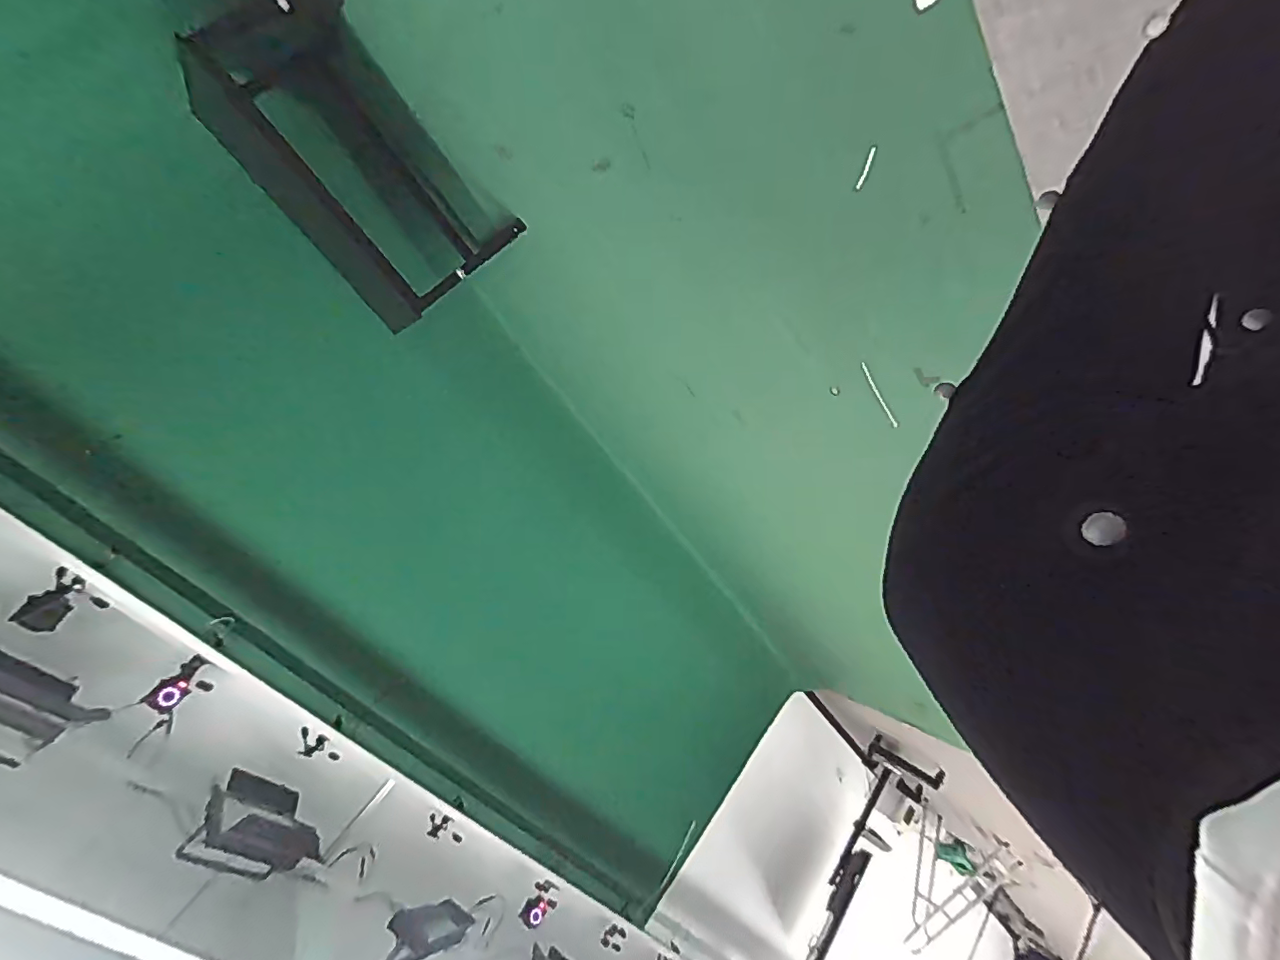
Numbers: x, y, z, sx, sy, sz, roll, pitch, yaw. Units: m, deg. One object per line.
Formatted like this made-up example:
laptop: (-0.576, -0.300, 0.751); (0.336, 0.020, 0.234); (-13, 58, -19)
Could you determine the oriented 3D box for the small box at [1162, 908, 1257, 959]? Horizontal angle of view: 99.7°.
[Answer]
small box: (1.725, 1.372, 1.635); (0.179, 0.176, 0.168); (52, 155, -22)
